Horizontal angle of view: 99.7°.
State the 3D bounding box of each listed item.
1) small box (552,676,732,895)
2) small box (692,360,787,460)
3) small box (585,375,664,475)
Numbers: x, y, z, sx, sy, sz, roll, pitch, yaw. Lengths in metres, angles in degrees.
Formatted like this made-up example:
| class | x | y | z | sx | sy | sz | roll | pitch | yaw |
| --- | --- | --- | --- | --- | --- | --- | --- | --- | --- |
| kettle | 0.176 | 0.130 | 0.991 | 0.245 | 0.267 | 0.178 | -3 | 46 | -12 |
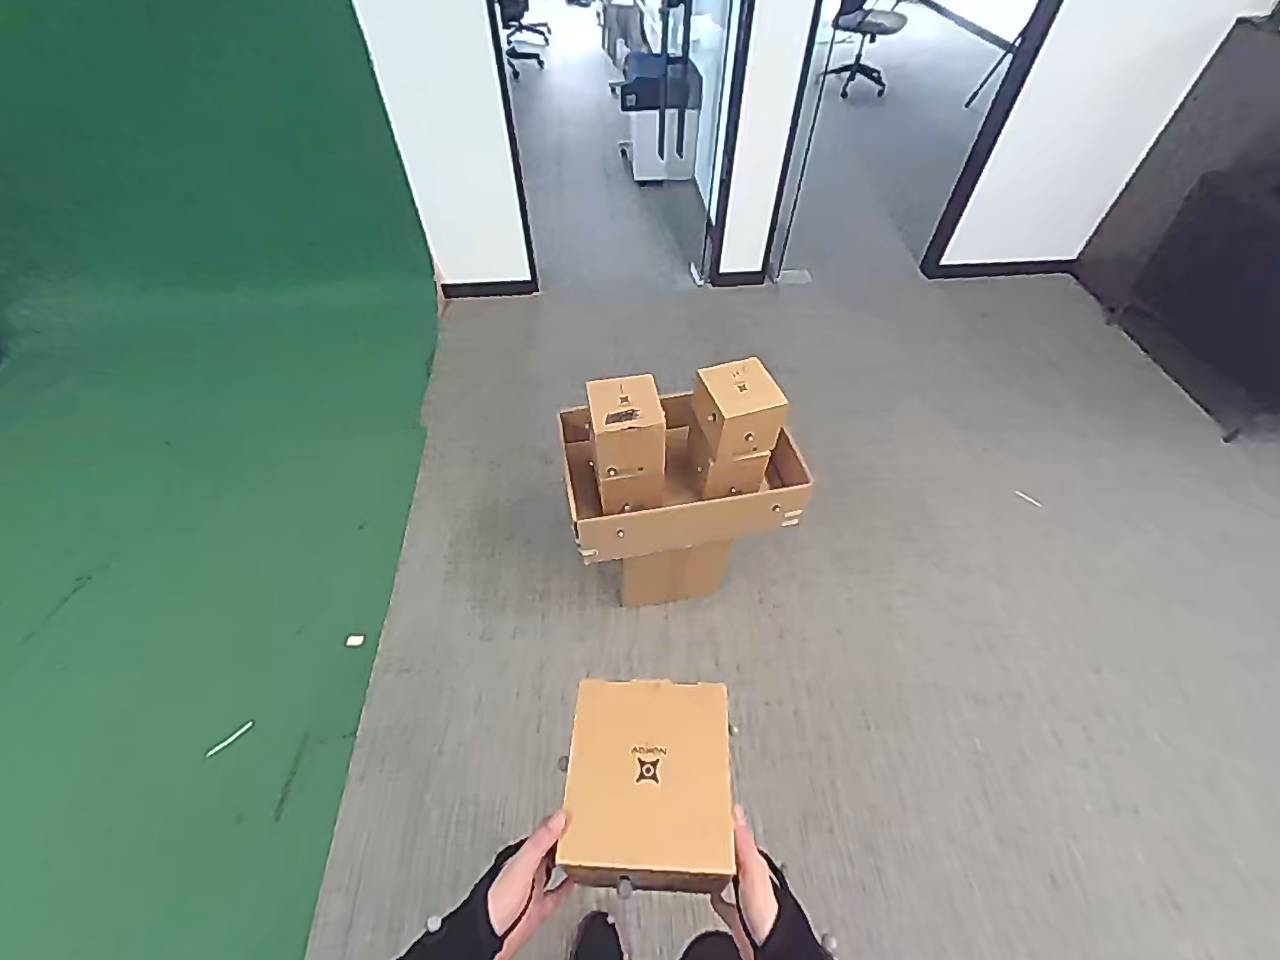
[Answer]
| class | x | y | z | sx | sy | sz | roll | pitch | yaw |
| --- | --- | --- | --- | --- | --- | --- | --- | --- | --- |
| small box | 0.010 | 0.336 | 0.593 | 0.168 | 0.176 | 0.179 | 1 | 46 | 4 |
| small box | 0.239 | -0.168 | 1.343 | 0.168 | 0.176 | 0.179 | -13 | 54 | -13 |
| small box | -0.037 | -0.126 | 1.306 | 0.168 | 0.176 | 0.179 | -7 | 51 | -6 |
